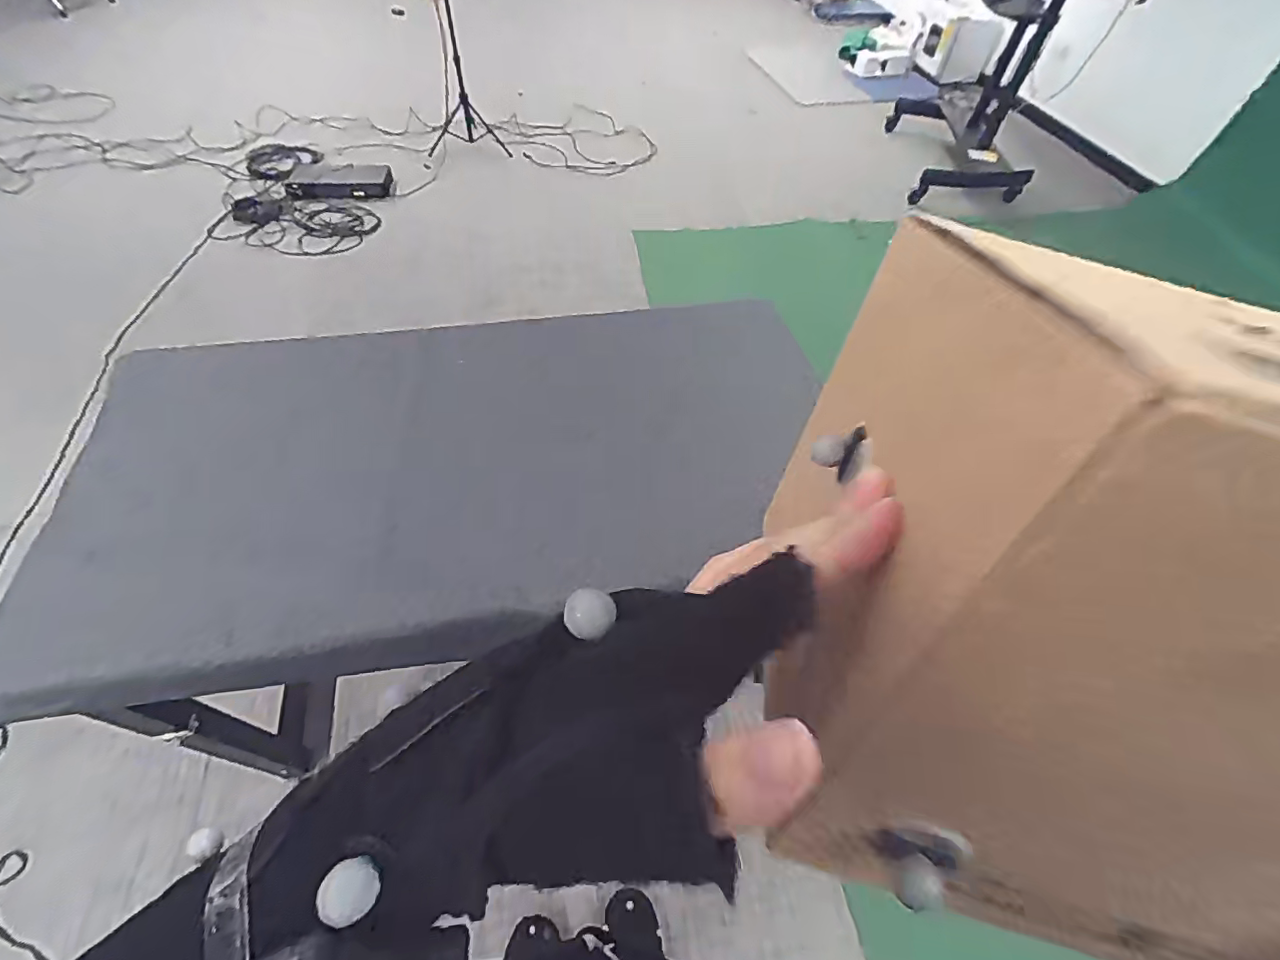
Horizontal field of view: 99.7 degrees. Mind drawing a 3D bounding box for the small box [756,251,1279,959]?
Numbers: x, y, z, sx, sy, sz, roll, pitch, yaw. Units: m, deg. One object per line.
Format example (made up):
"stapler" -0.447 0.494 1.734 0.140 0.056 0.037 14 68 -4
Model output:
"small box" 0.149 0.038 0.197 0.168 0.176 0.179 18 33 1
